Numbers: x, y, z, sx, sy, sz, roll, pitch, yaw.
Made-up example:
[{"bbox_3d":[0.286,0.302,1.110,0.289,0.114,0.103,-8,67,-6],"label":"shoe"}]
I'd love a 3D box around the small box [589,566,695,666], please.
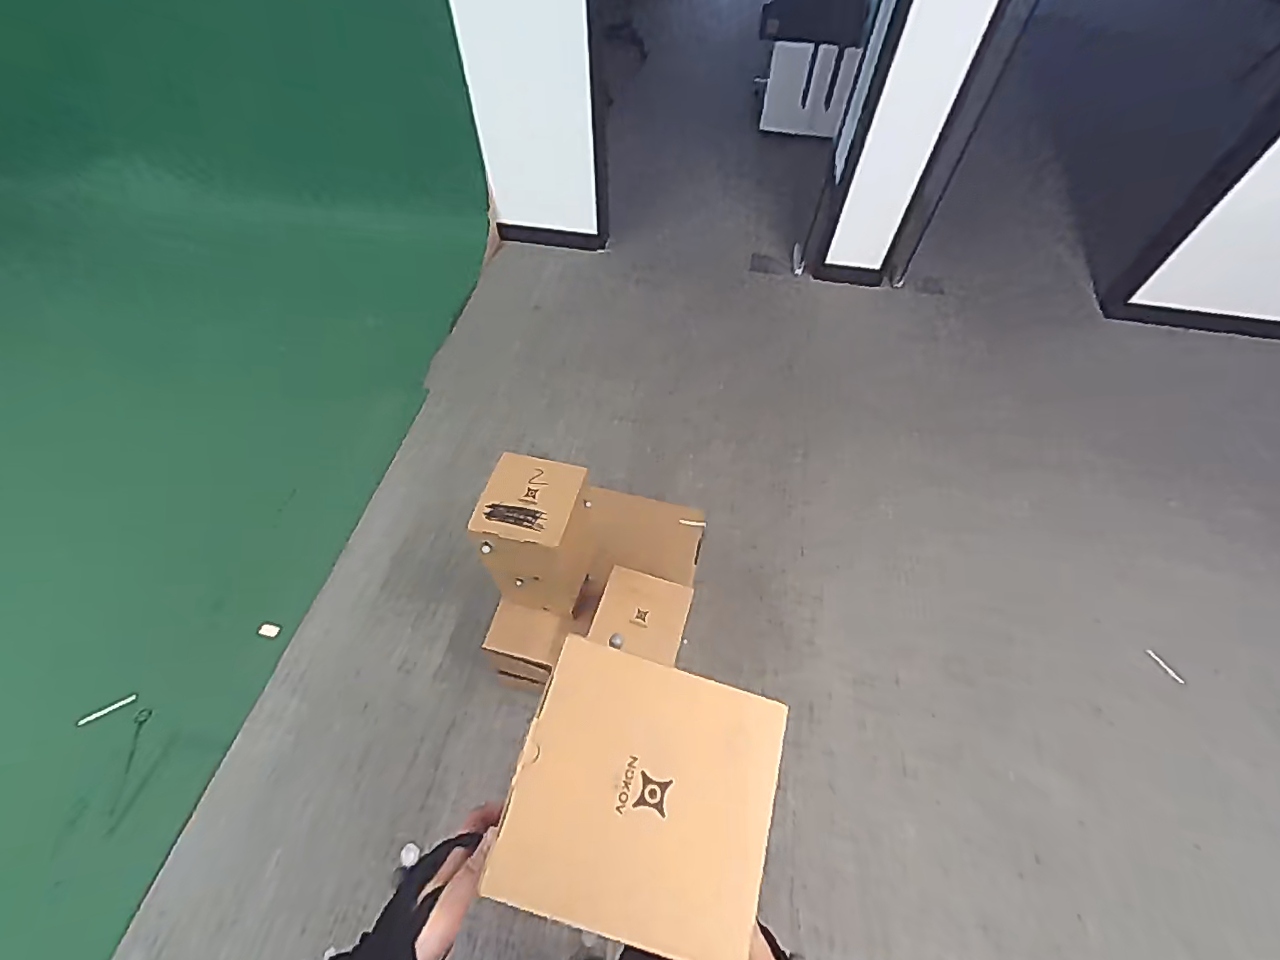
[{"bbox_3d":[0.002,0.302,1.068,0.168,0.176,0.179,16,56,8],"label":"small box"}]

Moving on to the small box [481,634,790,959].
[{"bbox_3d":[-0.003,0.240,0.439,0.179,0.176,0.168,17,65,2],"label":"small box"}]

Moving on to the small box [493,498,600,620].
[{"bbox_3d":[-0.189,0.170,1.155,0.168,0.176,0.179,14,55,10],"label":"small box"}]
